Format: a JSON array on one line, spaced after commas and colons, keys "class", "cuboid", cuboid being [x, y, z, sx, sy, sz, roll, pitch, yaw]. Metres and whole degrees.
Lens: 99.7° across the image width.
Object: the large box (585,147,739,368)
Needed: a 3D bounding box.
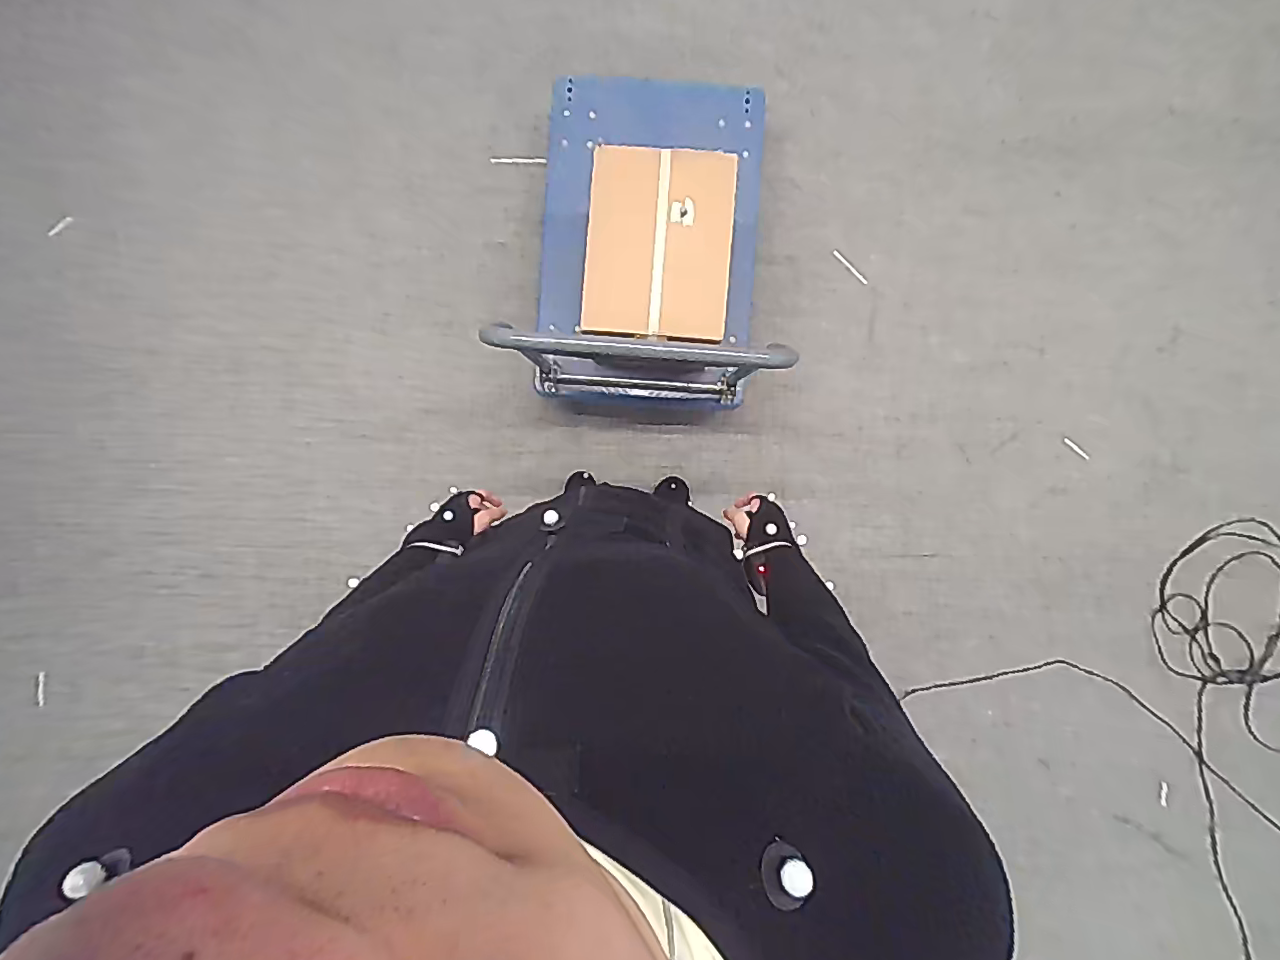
[{"class": "large box", "cuboid": [0.049, -0.503, 1.300, 0.320, 0.320, 0.408, 4, 90, -1]}]
